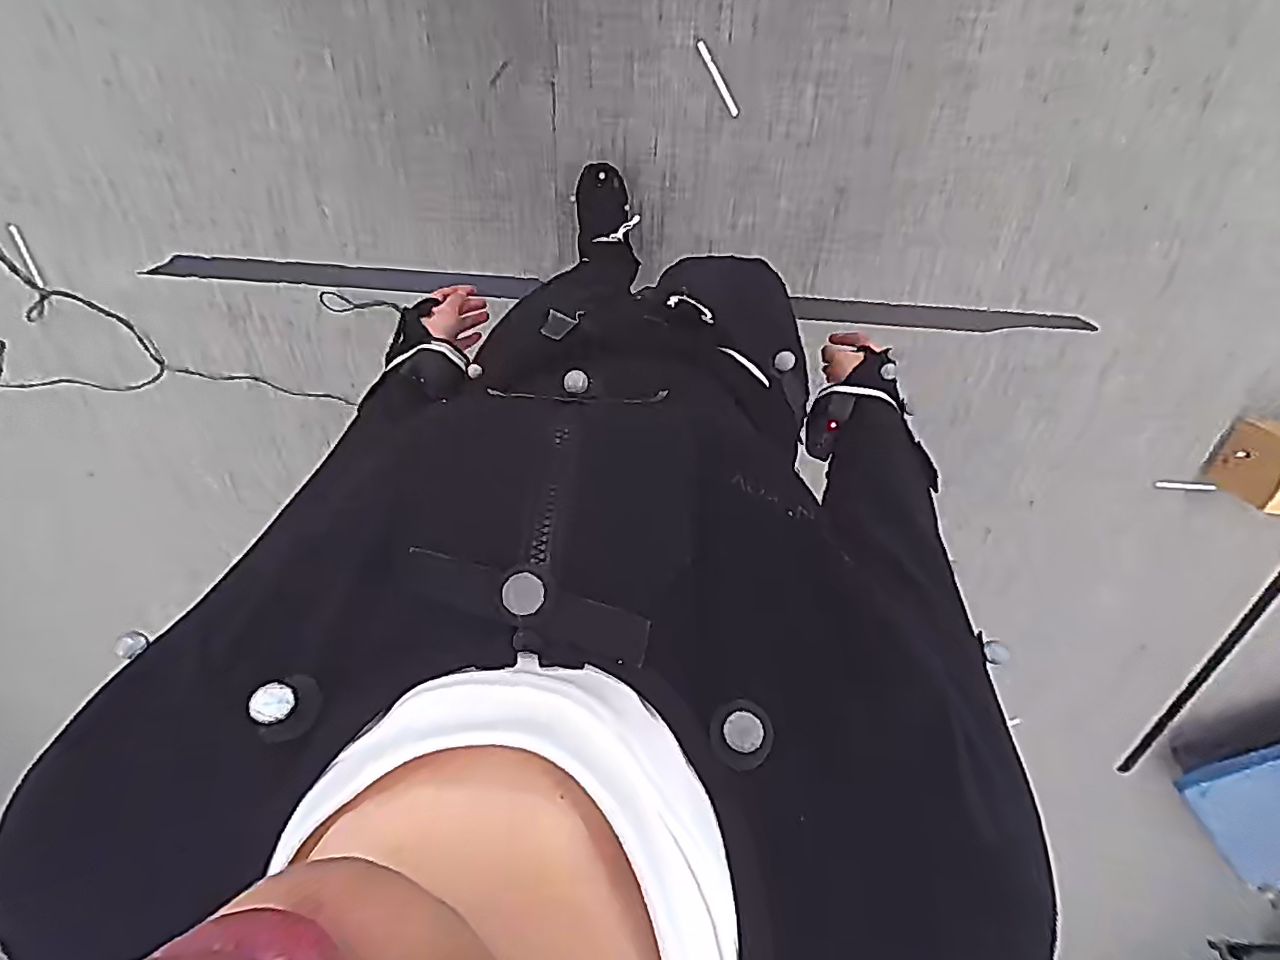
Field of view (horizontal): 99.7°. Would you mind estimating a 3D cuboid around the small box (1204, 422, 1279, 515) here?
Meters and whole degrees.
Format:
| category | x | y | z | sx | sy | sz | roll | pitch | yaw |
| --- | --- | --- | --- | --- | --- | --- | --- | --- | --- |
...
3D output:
| category | x | y | z | sx | sy | sz | roll | pitch | yaw |
| --- | --- | --- | --- | --- | --- | --- | --- | --- | --- |
| small box | 1.542 | -0.028 | 1.290 | 0.179 | 0.176 | 0.168 | 4 | 121 | 2 |
